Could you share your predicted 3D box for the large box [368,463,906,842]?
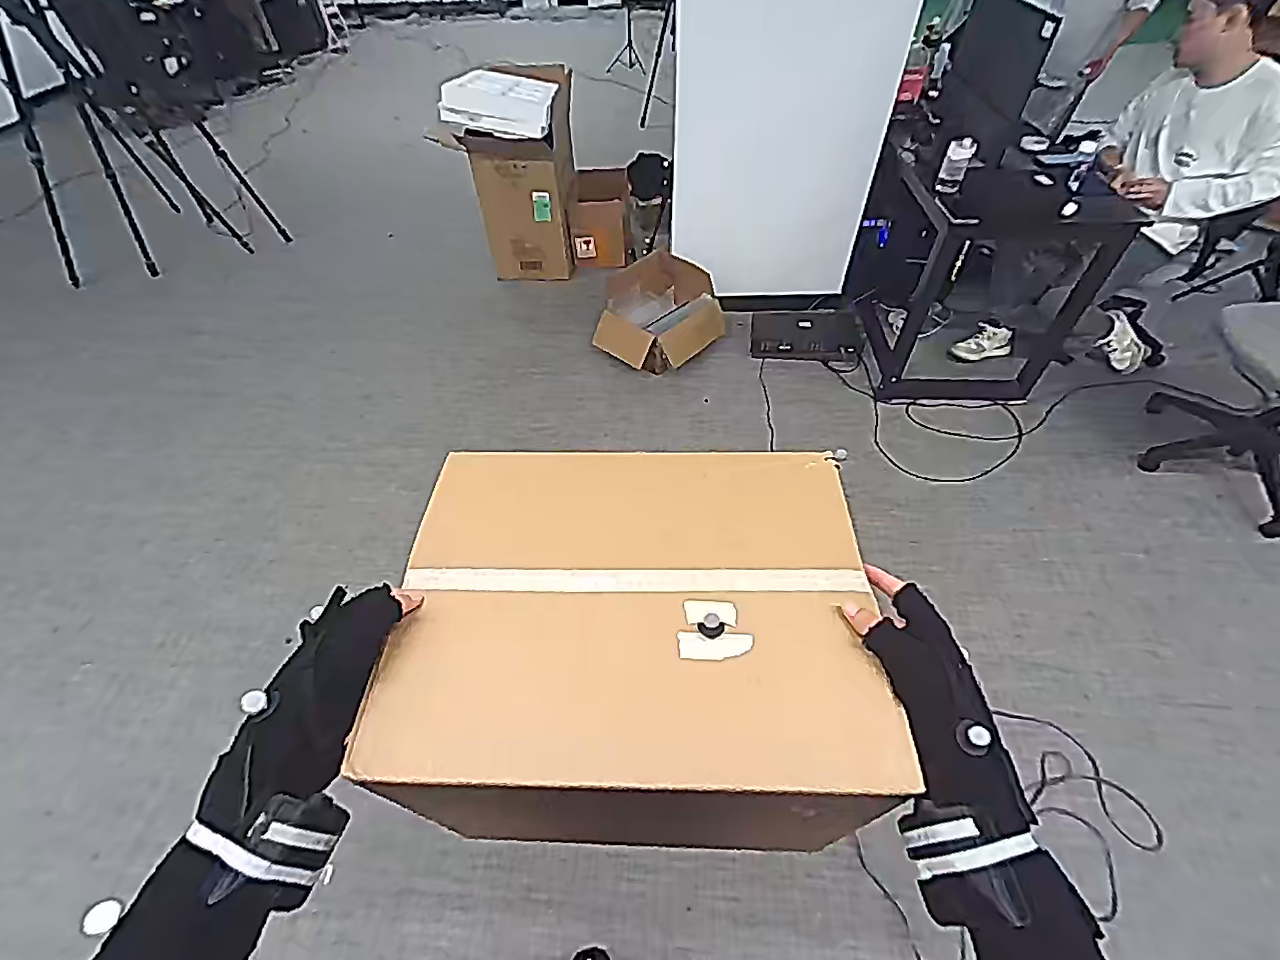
[{"bbox_3d":[0.000,0.195,0.601,0.408,0.320,0.320,1,50,2],"label":"large box"}]
